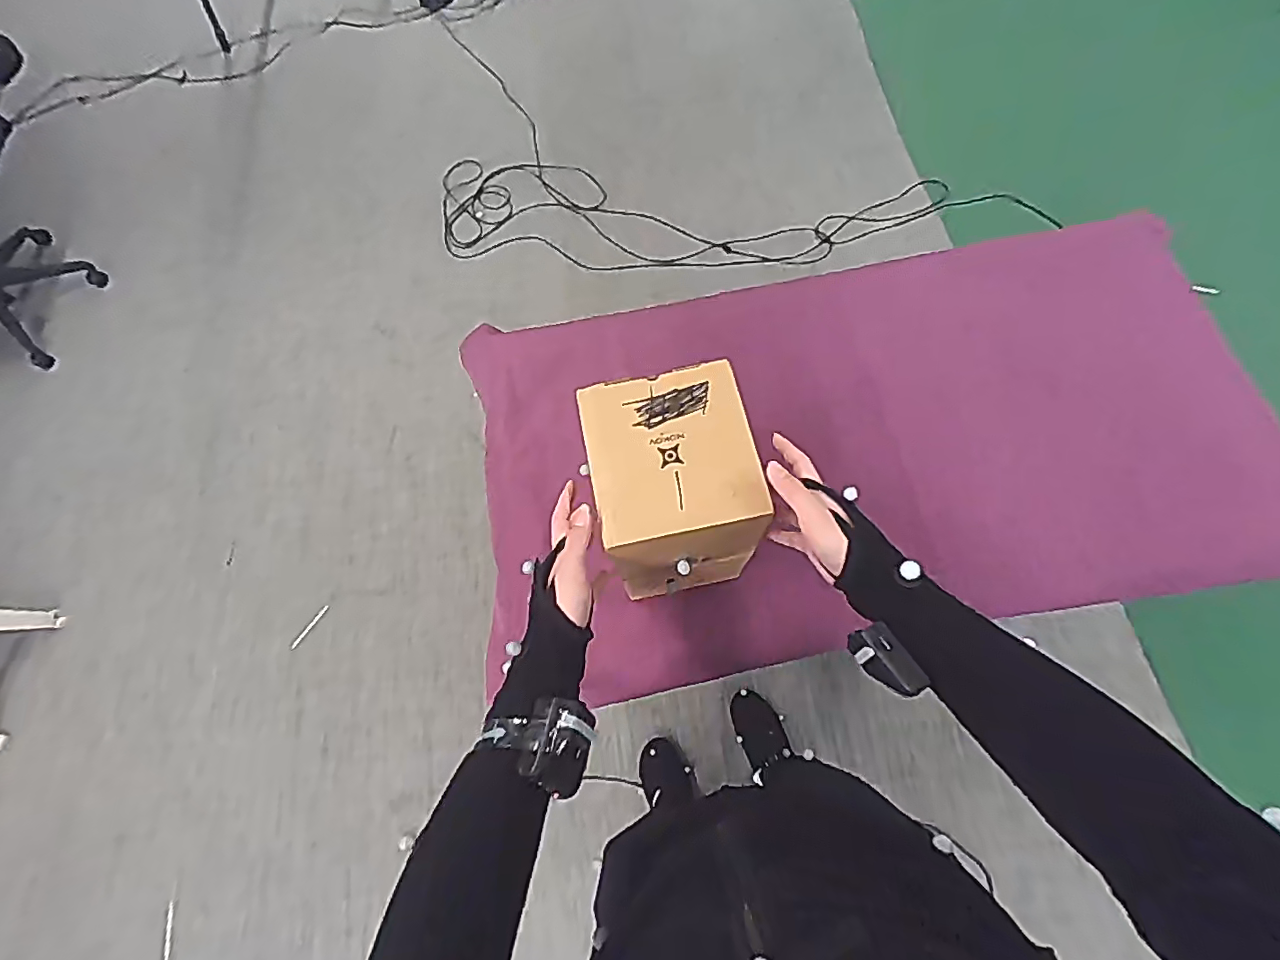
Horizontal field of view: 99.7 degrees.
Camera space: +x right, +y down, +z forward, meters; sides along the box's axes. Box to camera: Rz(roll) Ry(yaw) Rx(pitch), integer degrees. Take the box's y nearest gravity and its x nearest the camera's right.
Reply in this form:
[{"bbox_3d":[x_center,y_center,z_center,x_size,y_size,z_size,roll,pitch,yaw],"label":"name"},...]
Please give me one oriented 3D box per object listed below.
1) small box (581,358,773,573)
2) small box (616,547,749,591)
[{"bbox_3d":[0.036,-0.007,0.607,0.168,0.176,0.179,-11,70,0],"label":"small box"},{"bbox_3d":[0.047,0.052,0.760,0.168,0.176,0.179,-12,69,0],"label":"small box"}]
